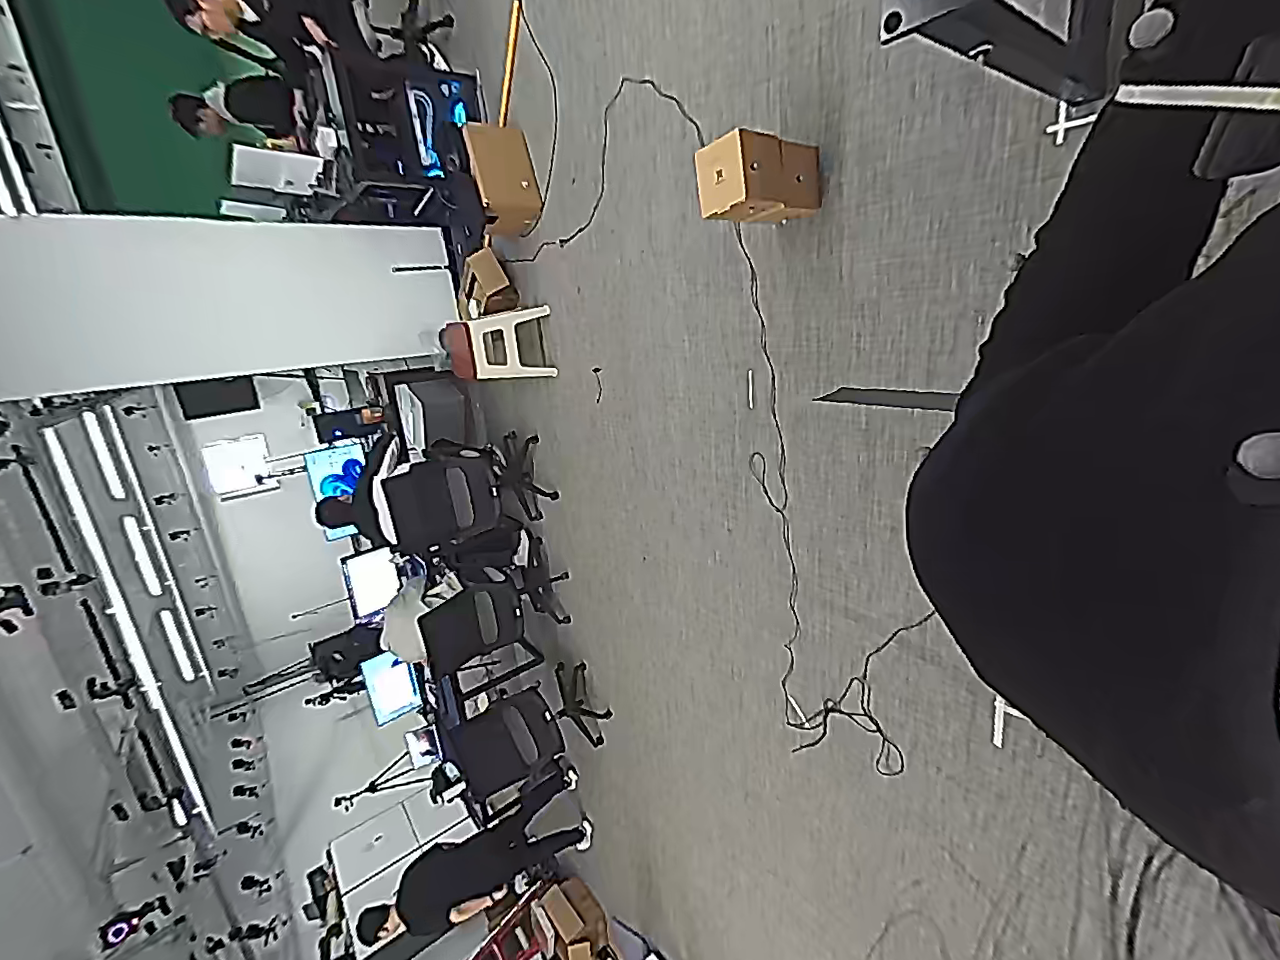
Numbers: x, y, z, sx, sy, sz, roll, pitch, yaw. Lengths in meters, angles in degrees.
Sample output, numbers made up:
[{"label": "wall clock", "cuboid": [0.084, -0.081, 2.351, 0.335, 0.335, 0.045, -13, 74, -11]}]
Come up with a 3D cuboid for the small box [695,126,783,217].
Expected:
[{"label": "small box", "cuboid": [0.278, -0.842, 1.496, 0.168, 0.176, 0.179, 6, 108, 52]}]

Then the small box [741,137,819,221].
[{"label": "small box", "cuboid": [0.407, -0.876, 1.589, 0.168, 0.176, 0.179, 11, 114, 52]}]
